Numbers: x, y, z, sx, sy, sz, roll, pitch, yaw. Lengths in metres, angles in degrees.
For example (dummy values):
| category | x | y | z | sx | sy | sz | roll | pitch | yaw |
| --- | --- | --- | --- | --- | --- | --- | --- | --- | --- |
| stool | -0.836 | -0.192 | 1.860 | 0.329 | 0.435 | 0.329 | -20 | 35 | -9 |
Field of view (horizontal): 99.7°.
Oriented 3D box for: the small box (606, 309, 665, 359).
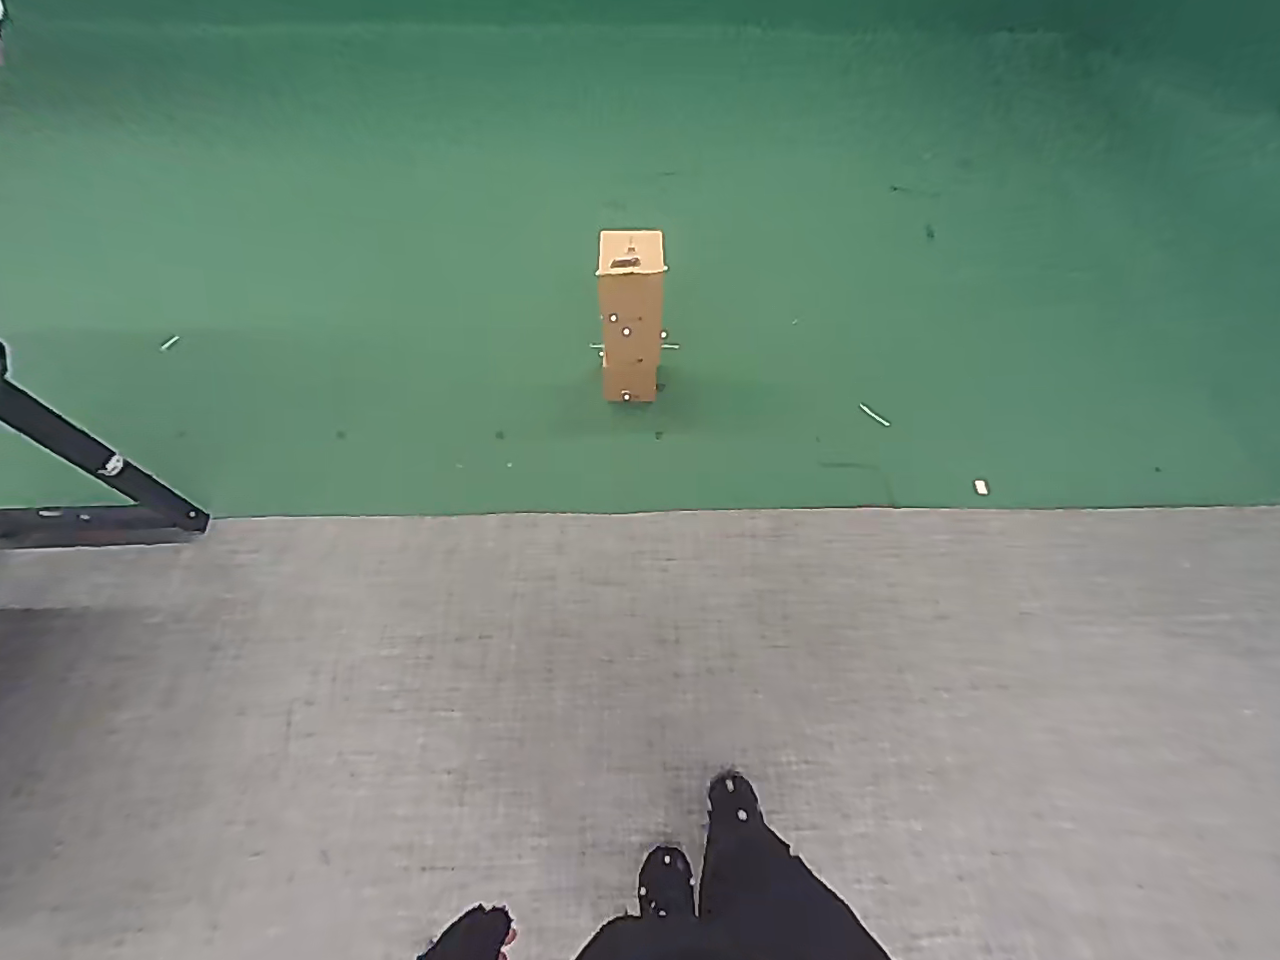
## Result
| category | x | y | z | sx | sy | sz | roll | pitch | yaw |
| --- | --- | --- | --- | --- | --- | --- | --- | --- | --- |
| small box | -0.014 | -0.482 | 1.603 | 0.168 | 0.176 | 0.179 | 0 | 59 | 0 |

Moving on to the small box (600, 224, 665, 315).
| category | x | y | z | sx | sy | sz | roll | pitch | yaw |
| --- | --- | --- | --- | --- | --- | --- | --- | --- | --- |
| small box | -0.016 | -0.564 | 1.459 | 0.168 | 0.176 | 0.179 | 0 | 59 | 0 |

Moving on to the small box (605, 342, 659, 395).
| category | x | y | z | sx | sy | sz | roll | pitch | yaw |
| --- | --- | --- | --- | --- | --- | --- | --- | --- | --- |
| small box | -0.023 | -0.395 | 1.741 | 0.168 | 0.176 | 0.179 | 0 | 61 | 0 |
